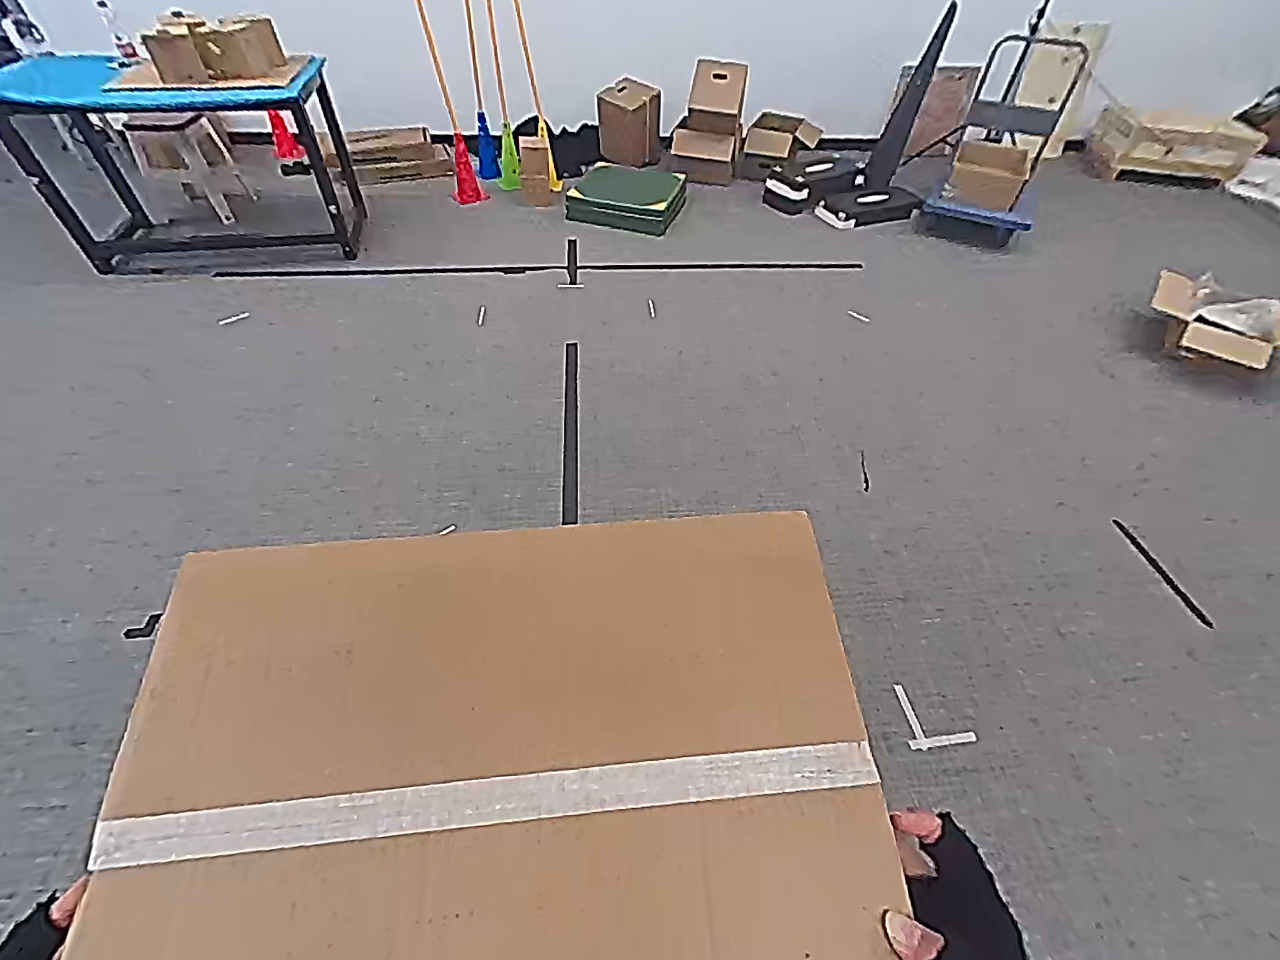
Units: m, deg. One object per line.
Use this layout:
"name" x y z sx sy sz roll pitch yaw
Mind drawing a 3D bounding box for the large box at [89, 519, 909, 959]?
"large box" -0.076 0.246 0.427 0.408 0.320 0.320 -4 63 -4
